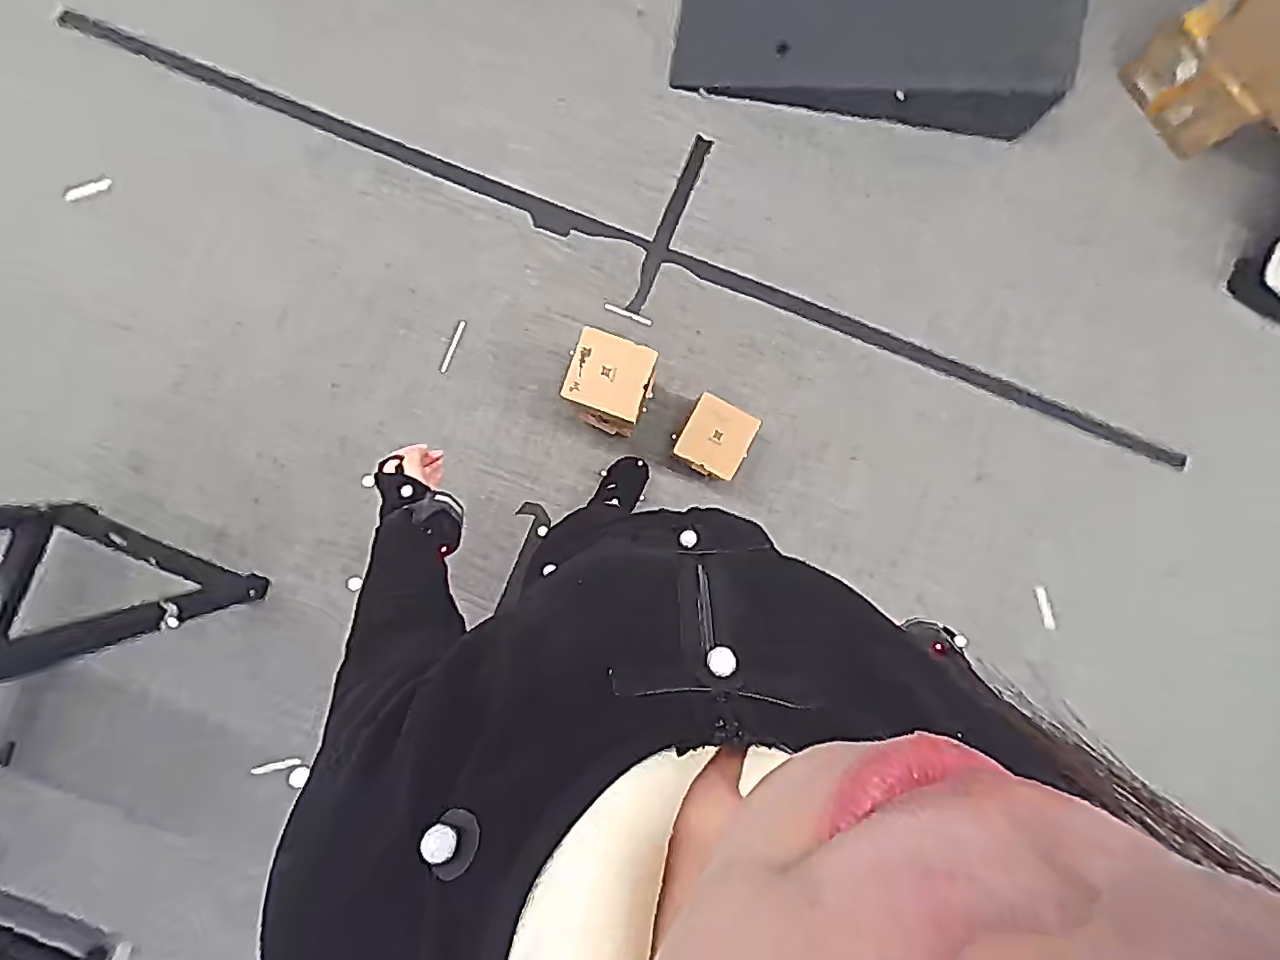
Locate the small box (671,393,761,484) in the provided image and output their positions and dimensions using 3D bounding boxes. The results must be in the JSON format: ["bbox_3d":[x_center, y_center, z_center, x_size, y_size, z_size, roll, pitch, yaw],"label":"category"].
[{"bbox_3d":[0.191,-0.103,1.419,0.168,0.176,0.179,28,90,-2],"label":"small box"}]

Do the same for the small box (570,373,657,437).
[{"bbox_3d":[-0.065,-0.223,1.411,0.168,0.176,0.179,25,89,-1],"label":"small box"}]

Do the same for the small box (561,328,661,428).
[{"bbox_3d":[-0.066,-0.226,1.247,0.179,0.176,0.168,20,90,-2],"label":"small box"}]
